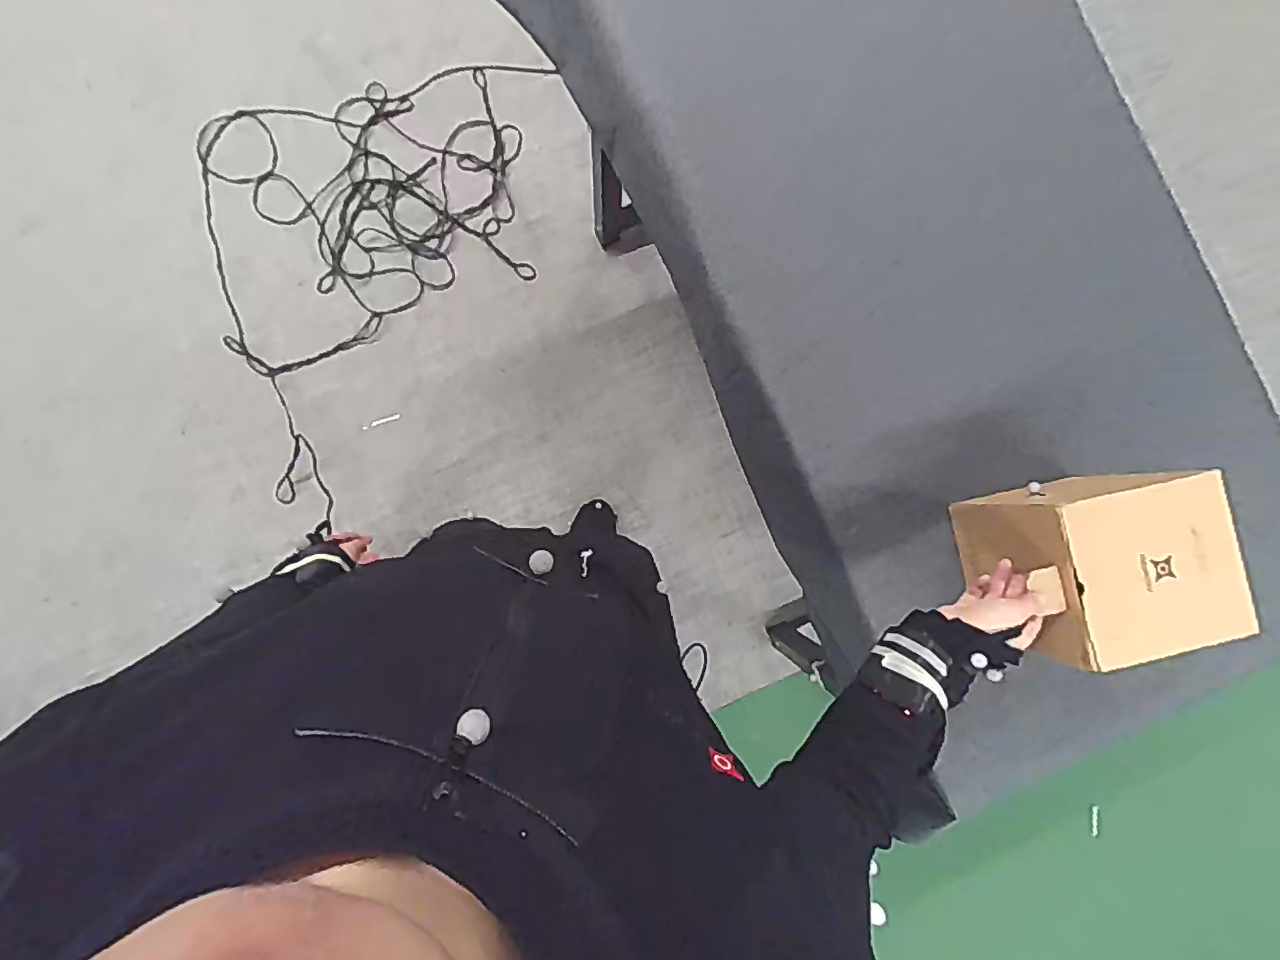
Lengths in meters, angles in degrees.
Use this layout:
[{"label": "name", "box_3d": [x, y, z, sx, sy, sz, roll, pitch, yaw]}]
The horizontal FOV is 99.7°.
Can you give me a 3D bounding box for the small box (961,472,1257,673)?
[{"label": "small box", "box_3d": [0.491, 0.091, 0.598, 0.179, 0.176, 0.168, -12, 89, -5]}]
